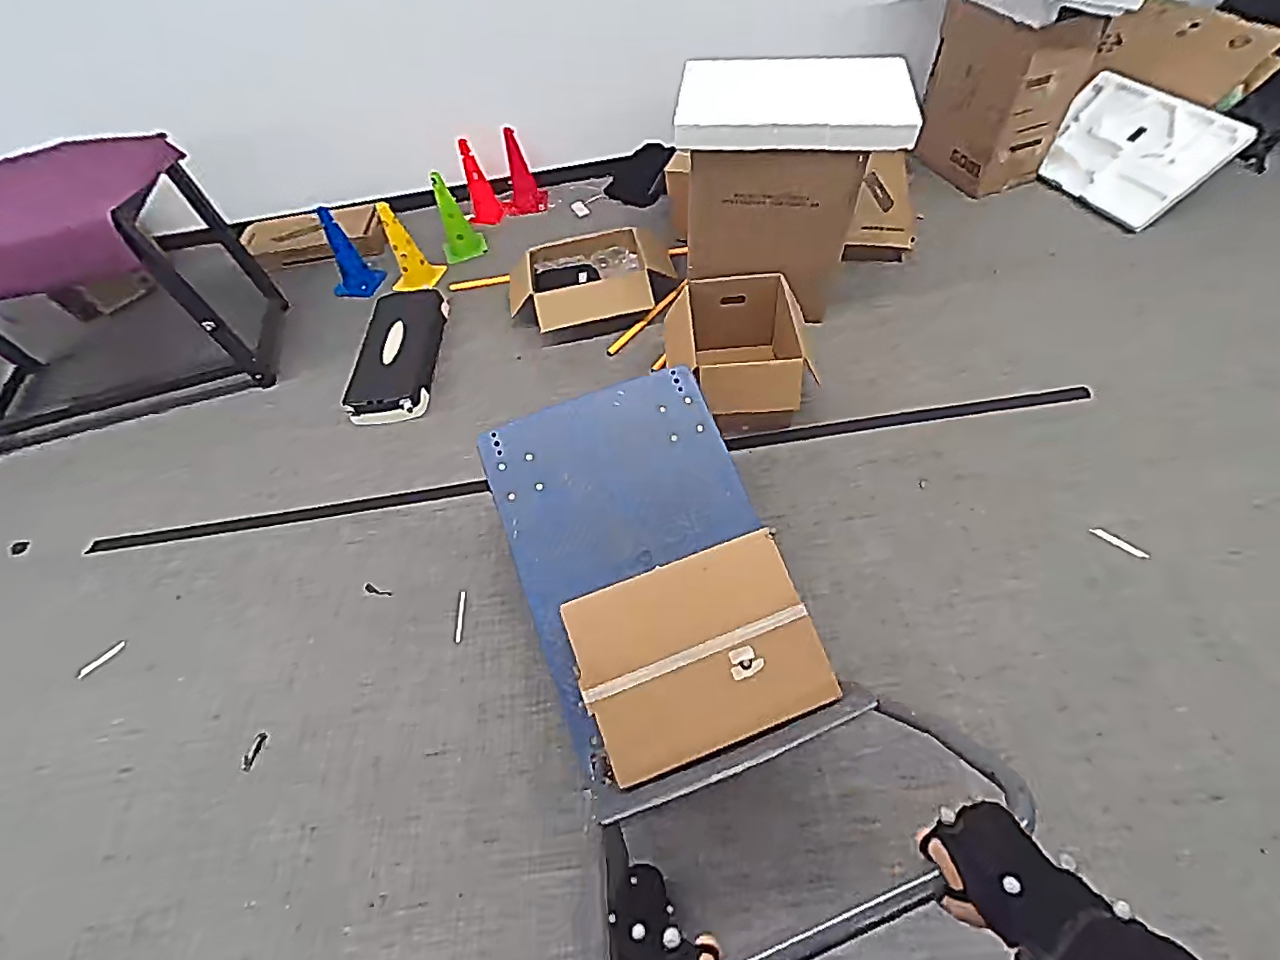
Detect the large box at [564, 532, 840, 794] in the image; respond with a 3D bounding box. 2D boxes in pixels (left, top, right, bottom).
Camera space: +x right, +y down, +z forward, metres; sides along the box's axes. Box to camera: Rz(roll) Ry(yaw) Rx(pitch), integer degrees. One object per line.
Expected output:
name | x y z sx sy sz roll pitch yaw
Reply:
large box | 0.098 0.341 1.068 0.408 0.320 0.320 -20 77 -7
